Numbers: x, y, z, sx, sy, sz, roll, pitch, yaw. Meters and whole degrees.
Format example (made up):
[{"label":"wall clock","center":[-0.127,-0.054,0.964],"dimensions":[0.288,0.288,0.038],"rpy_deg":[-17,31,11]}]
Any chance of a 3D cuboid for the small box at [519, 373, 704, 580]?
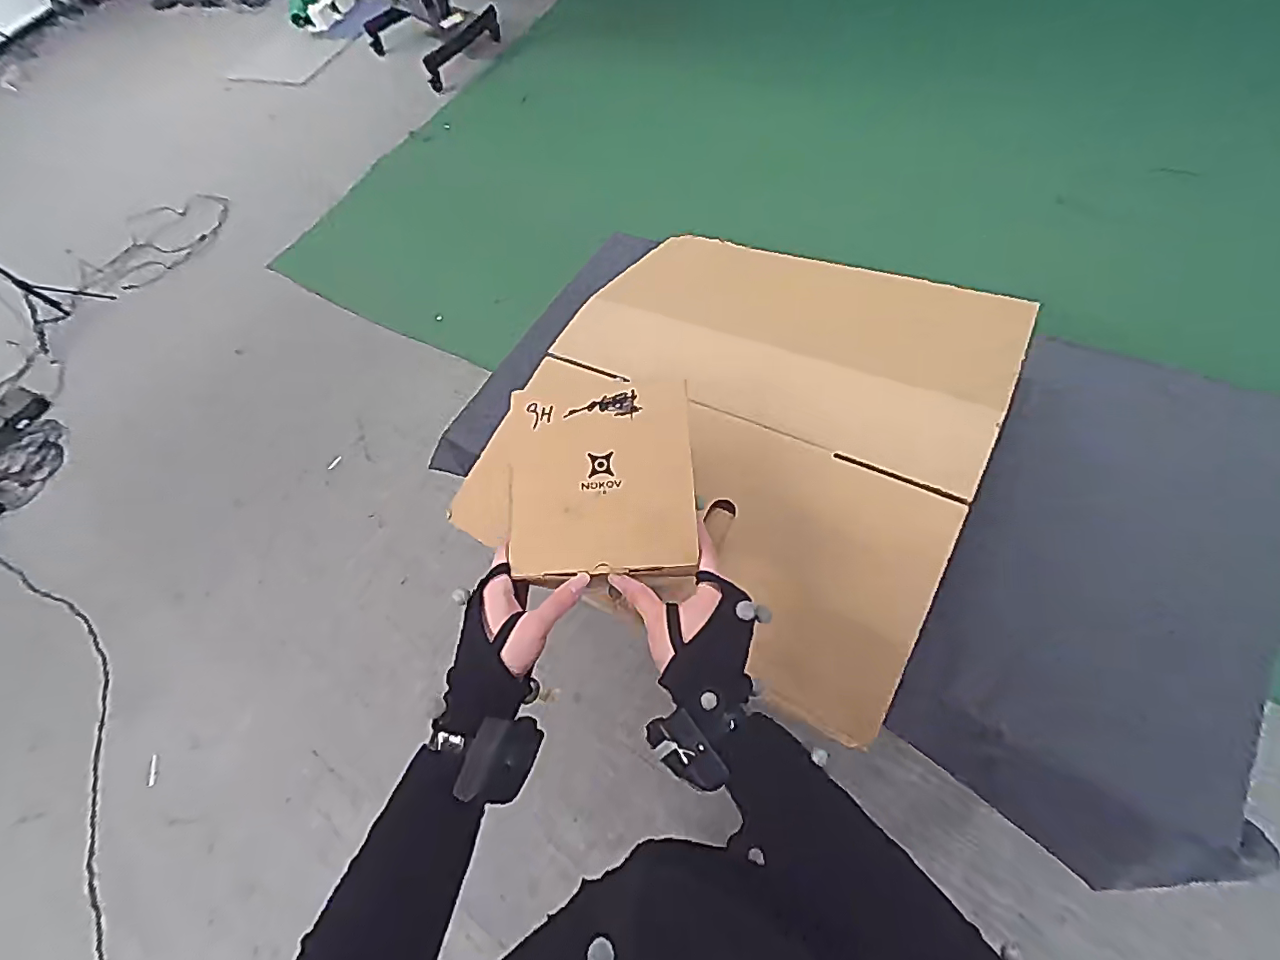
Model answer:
[{"label":"small box","center":[-0.021,0.010,0.567],"dimensions":[0.168,0.176,0.179],"rpy_deg":[-6,74,4]}]
